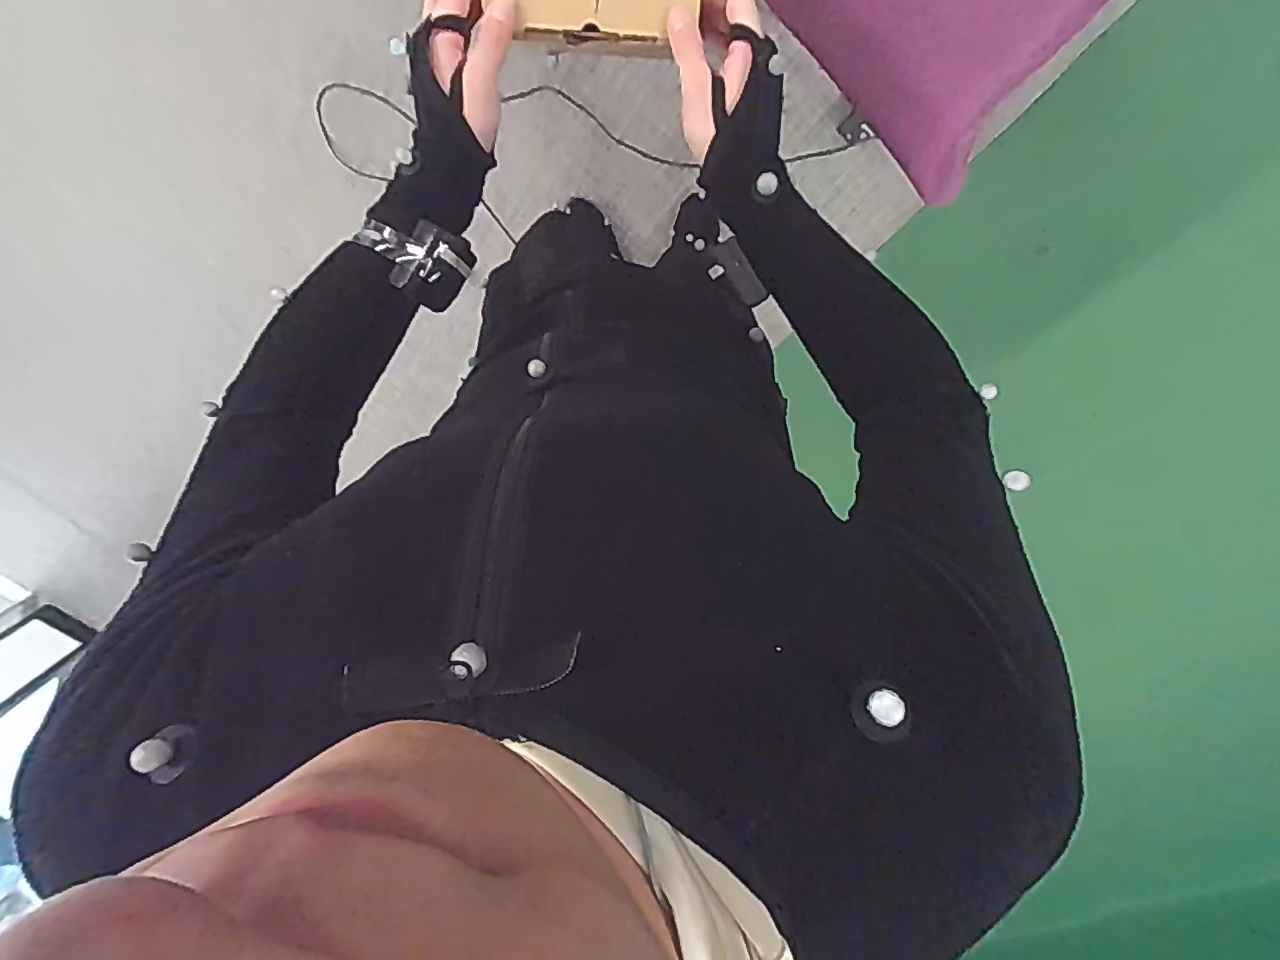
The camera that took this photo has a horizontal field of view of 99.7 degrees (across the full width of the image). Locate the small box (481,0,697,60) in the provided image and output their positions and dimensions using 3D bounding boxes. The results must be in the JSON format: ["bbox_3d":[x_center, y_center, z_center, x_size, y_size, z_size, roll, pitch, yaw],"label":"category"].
[{"bbox_3d":[-0.031,-0.455,0.432,0.168,0.176,0.179,3,124,-2],"label":"small box"}]
